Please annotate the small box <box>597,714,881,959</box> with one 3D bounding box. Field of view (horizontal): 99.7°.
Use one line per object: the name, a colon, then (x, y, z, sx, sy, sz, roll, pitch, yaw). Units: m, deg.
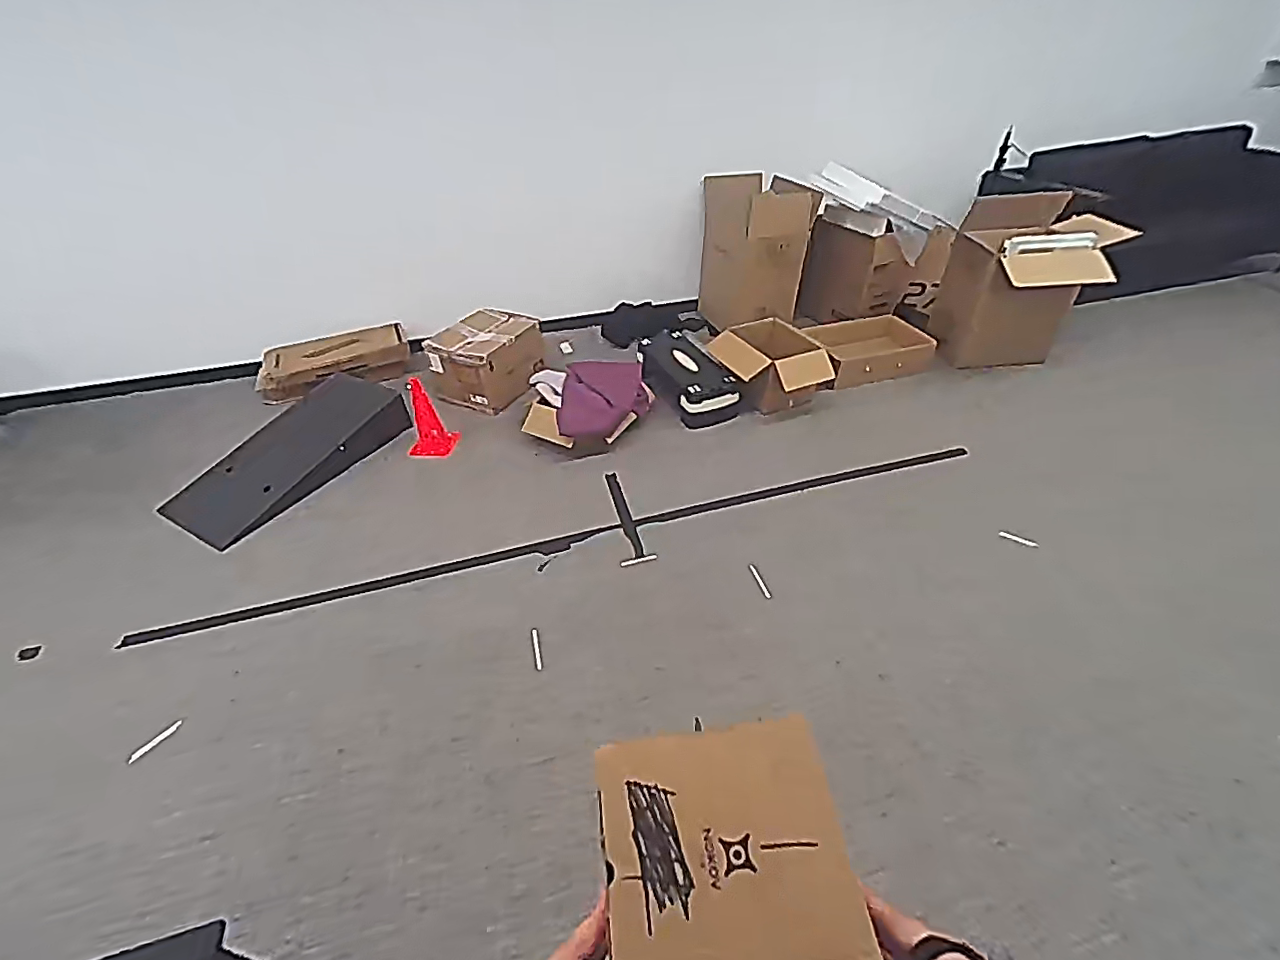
small box: (0.065, 0.313, 0.448, 0.179, 0.176, 0.168, -8, 52, -2)
